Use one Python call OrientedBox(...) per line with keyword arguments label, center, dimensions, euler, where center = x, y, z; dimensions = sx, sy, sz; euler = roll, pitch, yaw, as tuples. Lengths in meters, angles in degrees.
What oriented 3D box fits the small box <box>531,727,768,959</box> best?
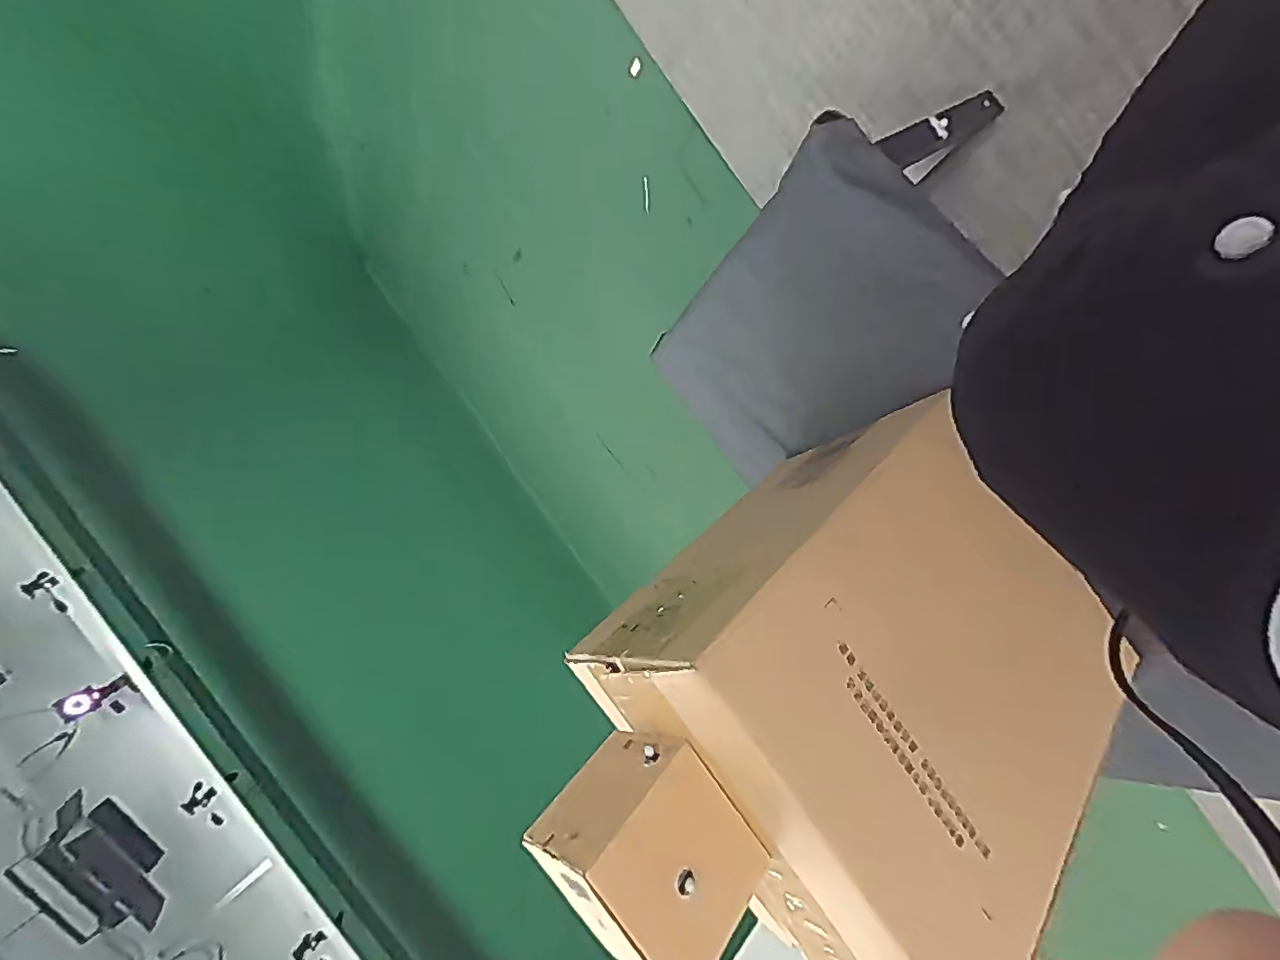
OrientedBox(label="small box", center=(0.012, 0.415, 0.629), dimensions=(0.179, 0.176, 0.168), euler=(54, 144, -4))
